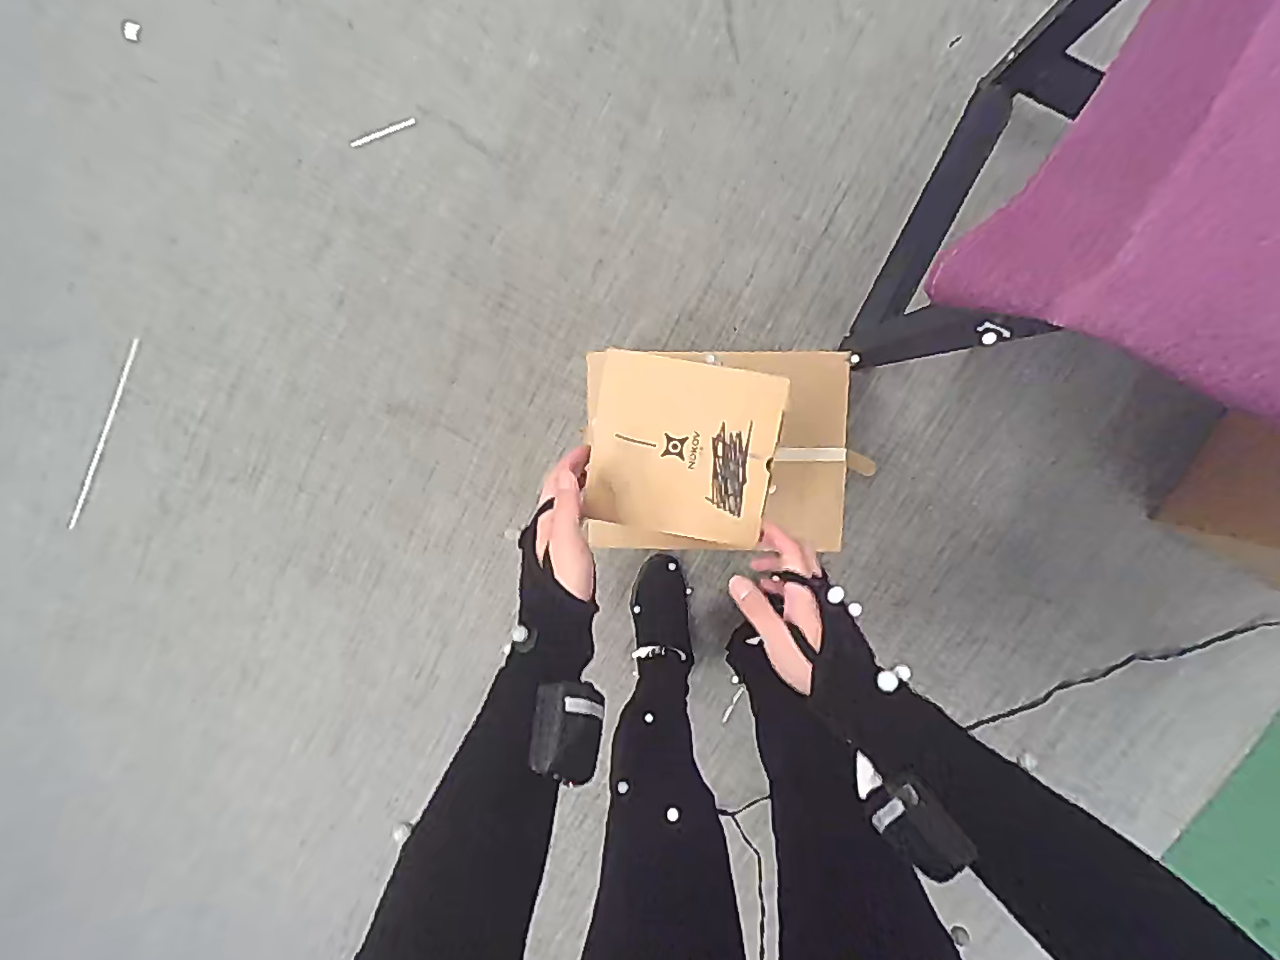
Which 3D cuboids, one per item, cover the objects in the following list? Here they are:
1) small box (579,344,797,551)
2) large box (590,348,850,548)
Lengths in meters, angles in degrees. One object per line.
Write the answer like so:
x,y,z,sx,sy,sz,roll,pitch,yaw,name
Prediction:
0.048,-0.039,0.590,0.179,0.176,0.168,14,97,3,small box
0.128,-0.064,0.995,0.408,0.320,0.320,0,98,2,large box
